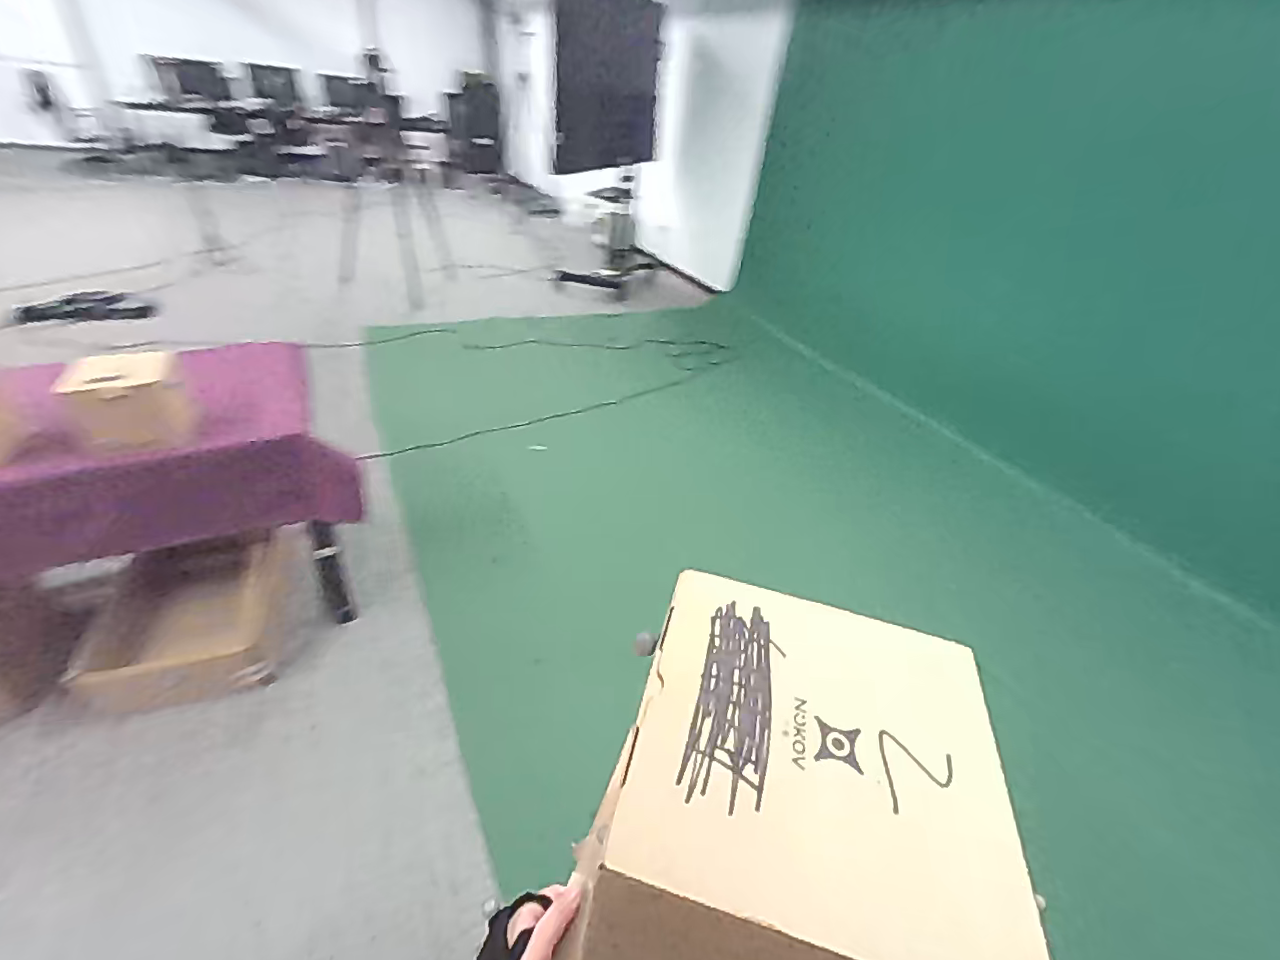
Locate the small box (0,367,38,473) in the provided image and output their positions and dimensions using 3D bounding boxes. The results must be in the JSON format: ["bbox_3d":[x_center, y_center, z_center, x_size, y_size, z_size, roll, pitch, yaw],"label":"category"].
[{"bbox_3d":[-1.432,-0.120,1.130,0.168,0.176,0.179,-9,40,-21],"label":"small box"}]

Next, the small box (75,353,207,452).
[{"bbox_3d":[-1.142,-0.177,1.256,0.168,0.176,0.179,-12,39,-24],"label":"small box"}]
